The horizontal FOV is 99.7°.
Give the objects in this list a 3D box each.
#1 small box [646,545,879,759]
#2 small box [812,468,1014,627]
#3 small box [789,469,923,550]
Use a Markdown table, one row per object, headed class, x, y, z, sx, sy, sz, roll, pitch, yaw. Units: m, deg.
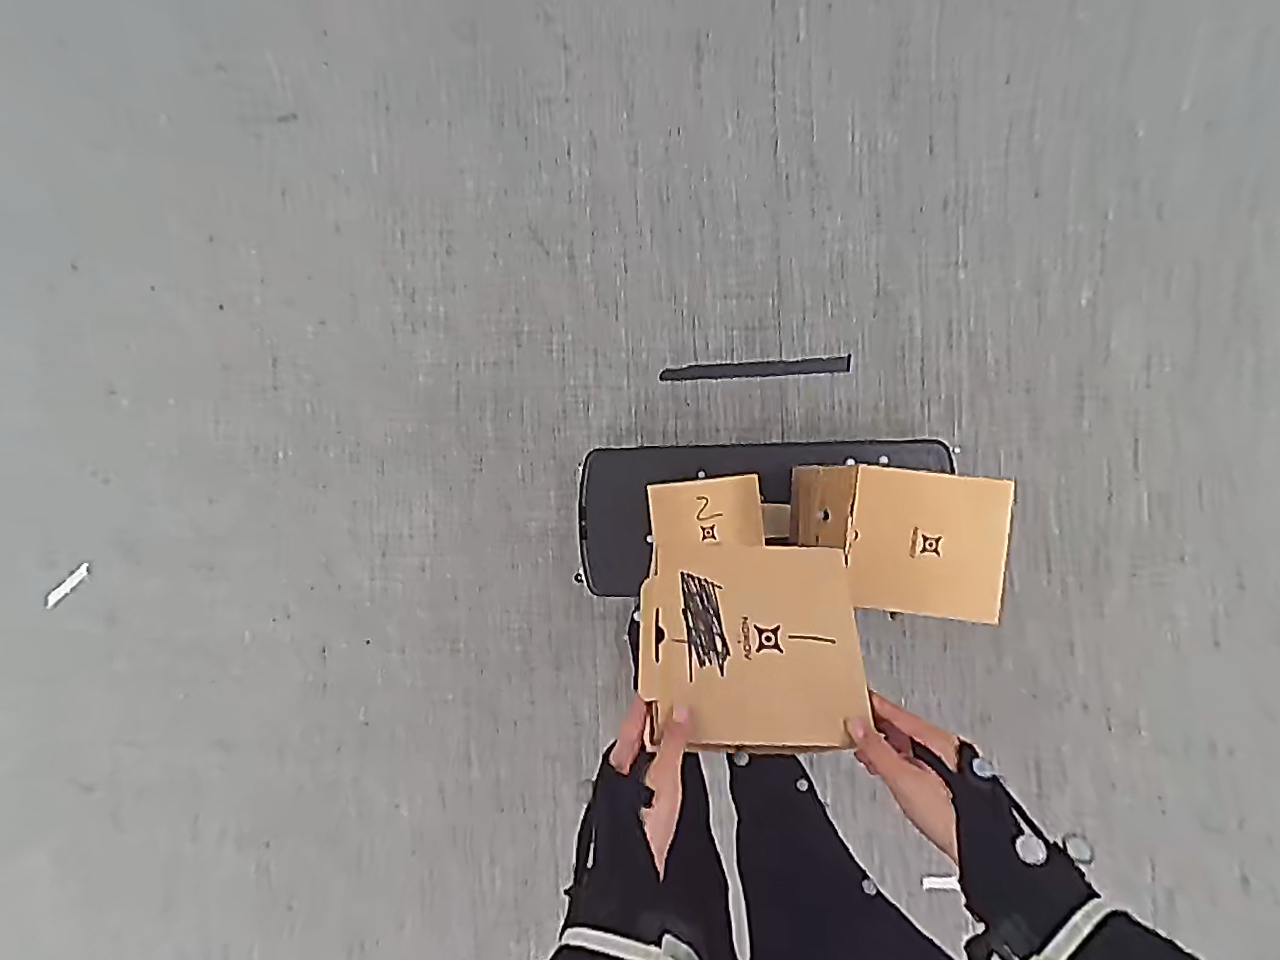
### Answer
| class | x | y | z | sx | sy | sz | roll | pitch | yaw |
| --- | --- | --- | --- | --- | --- | --- | --- | --- | --- |
| small box | 0.096 | 0.171 | 0.519 | 0.179 | 0.176 | 0.168 | 2 | 61 | -2 |
| small box | 0.333 | 0.075 | 0.694 | 0.179 | 0.176 | 0.168 | 6 | 91 | 6 |
| small box | 0.336 | 0.074 | 0.857 | 0.168 | 0.176 | 0.179 | 3 | 90 | 5 |
